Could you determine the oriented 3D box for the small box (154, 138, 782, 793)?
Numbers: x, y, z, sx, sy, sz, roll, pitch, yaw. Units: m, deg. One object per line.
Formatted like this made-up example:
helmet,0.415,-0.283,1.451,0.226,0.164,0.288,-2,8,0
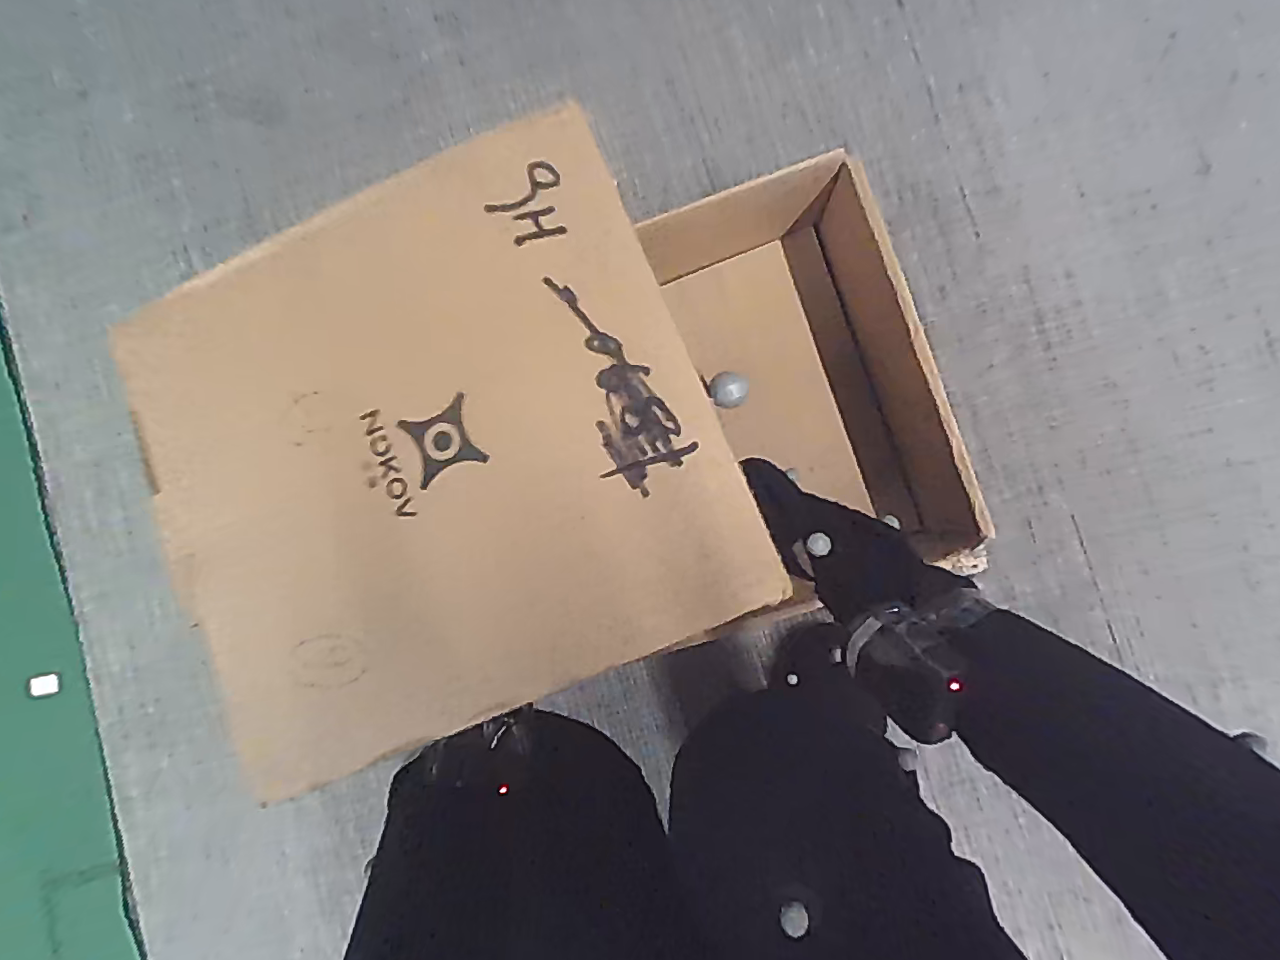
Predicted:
small box,-0.055,0.001,0.256,0.179,0.176,0.168,-26,82,4
